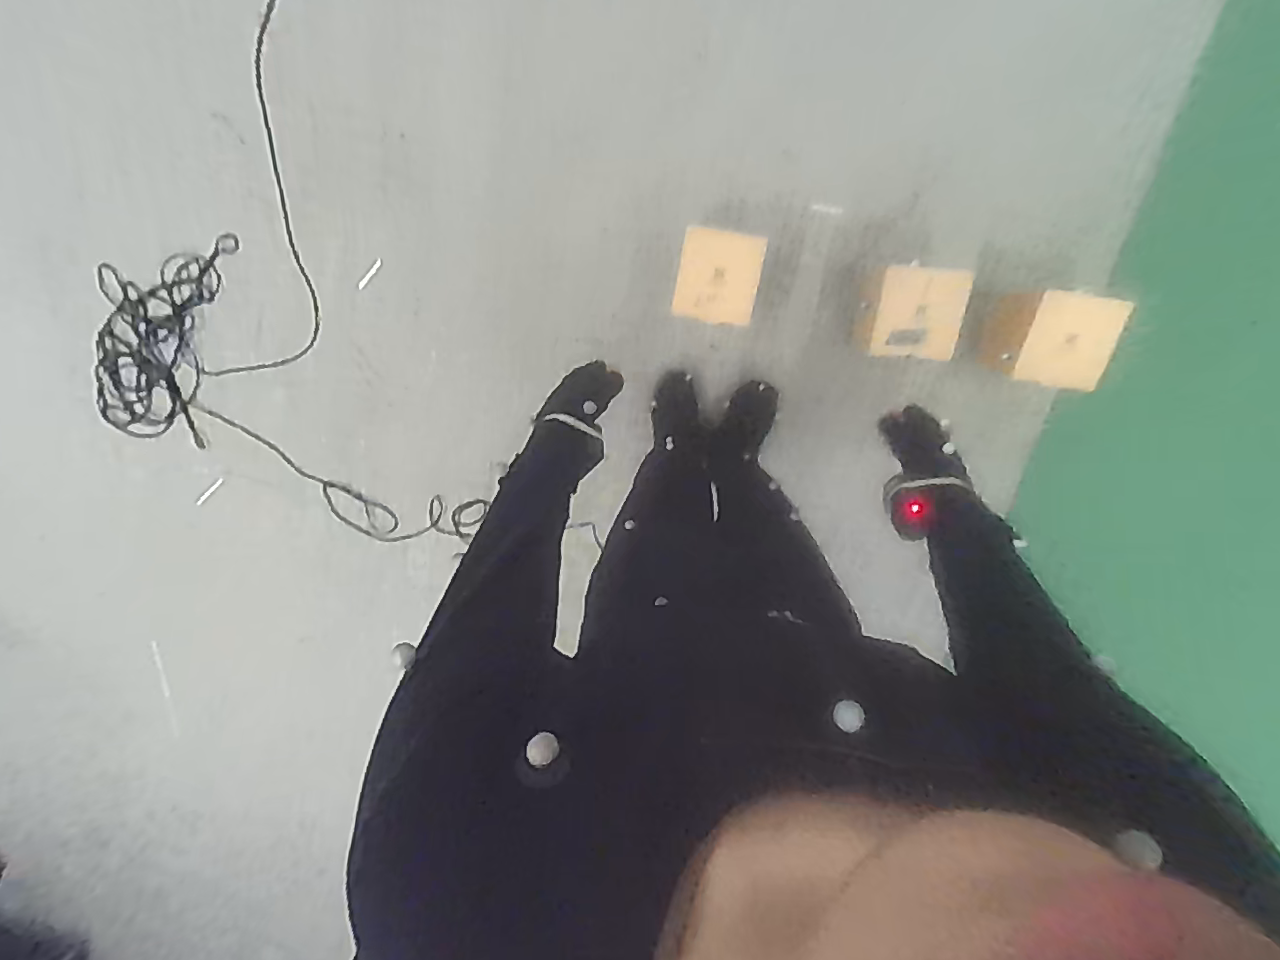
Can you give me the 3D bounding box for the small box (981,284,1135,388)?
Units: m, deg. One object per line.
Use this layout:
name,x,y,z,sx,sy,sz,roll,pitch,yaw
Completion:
small box,0.849,-0.304,1.123,0.168,0.176,0.179,10,111,4

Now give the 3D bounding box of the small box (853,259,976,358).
small box,0.563,-0.362,1.138,0.168,0.176,0.179,6,110,5

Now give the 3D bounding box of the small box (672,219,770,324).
small box,0.169,-0.443,1.157,0.168,0.176,0.179,12,112,4
